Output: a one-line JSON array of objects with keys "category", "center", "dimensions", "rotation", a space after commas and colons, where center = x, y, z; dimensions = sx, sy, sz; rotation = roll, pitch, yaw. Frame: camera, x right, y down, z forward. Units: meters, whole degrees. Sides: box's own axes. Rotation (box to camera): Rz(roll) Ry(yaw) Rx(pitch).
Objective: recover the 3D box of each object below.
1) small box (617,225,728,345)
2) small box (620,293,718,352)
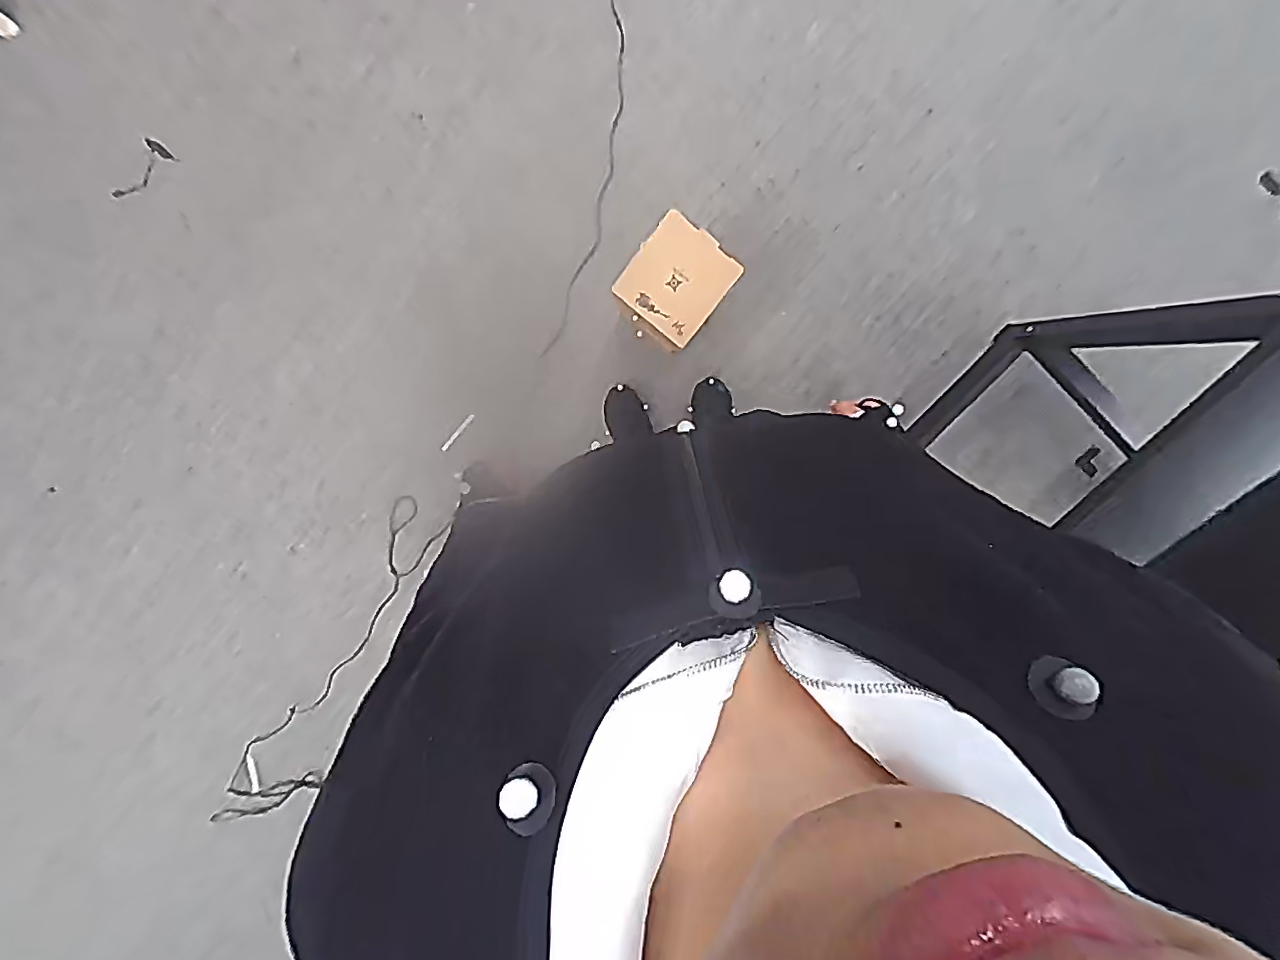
[{"category": "small box", "center": [0.067, -0.411, 1.179], "dimensions": [0.168, 0.176, 0.179], "rotation": [35, 98, -7]}, {"category": "small box", "center": [0.067, -0.437, 1.338], "dimensions": [0.168, 0.176, 0.179], "rotation": [38, 100, -6]}]
